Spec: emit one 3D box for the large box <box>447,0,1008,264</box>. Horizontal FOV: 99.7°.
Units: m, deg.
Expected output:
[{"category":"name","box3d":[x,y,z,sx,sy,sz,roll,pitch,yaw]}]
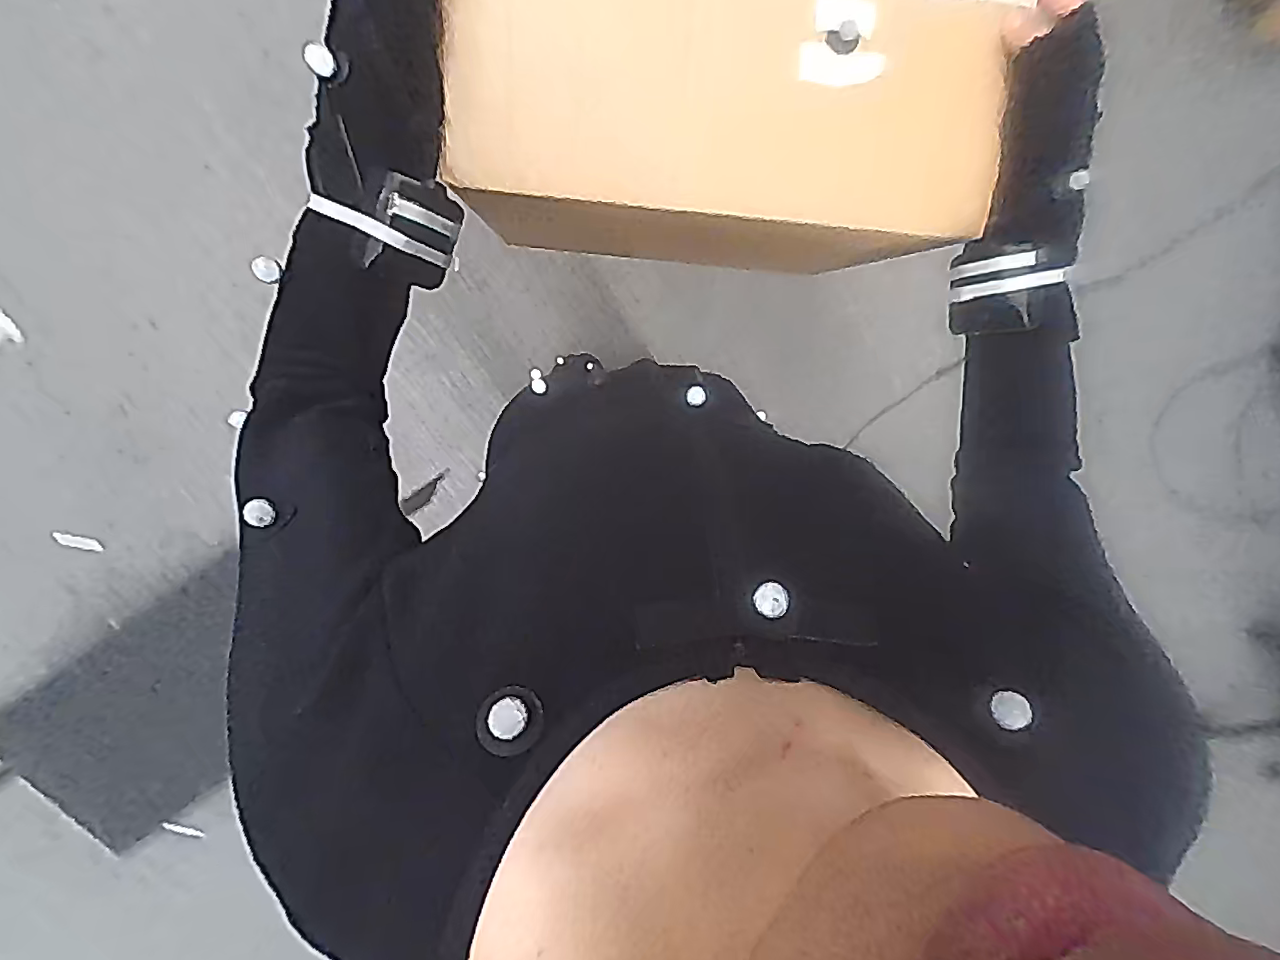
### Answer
[{"category":"large box","box3d":[0.052,-0.394,0.510,0.408,0.320,0.320,1,106,-7]}]
